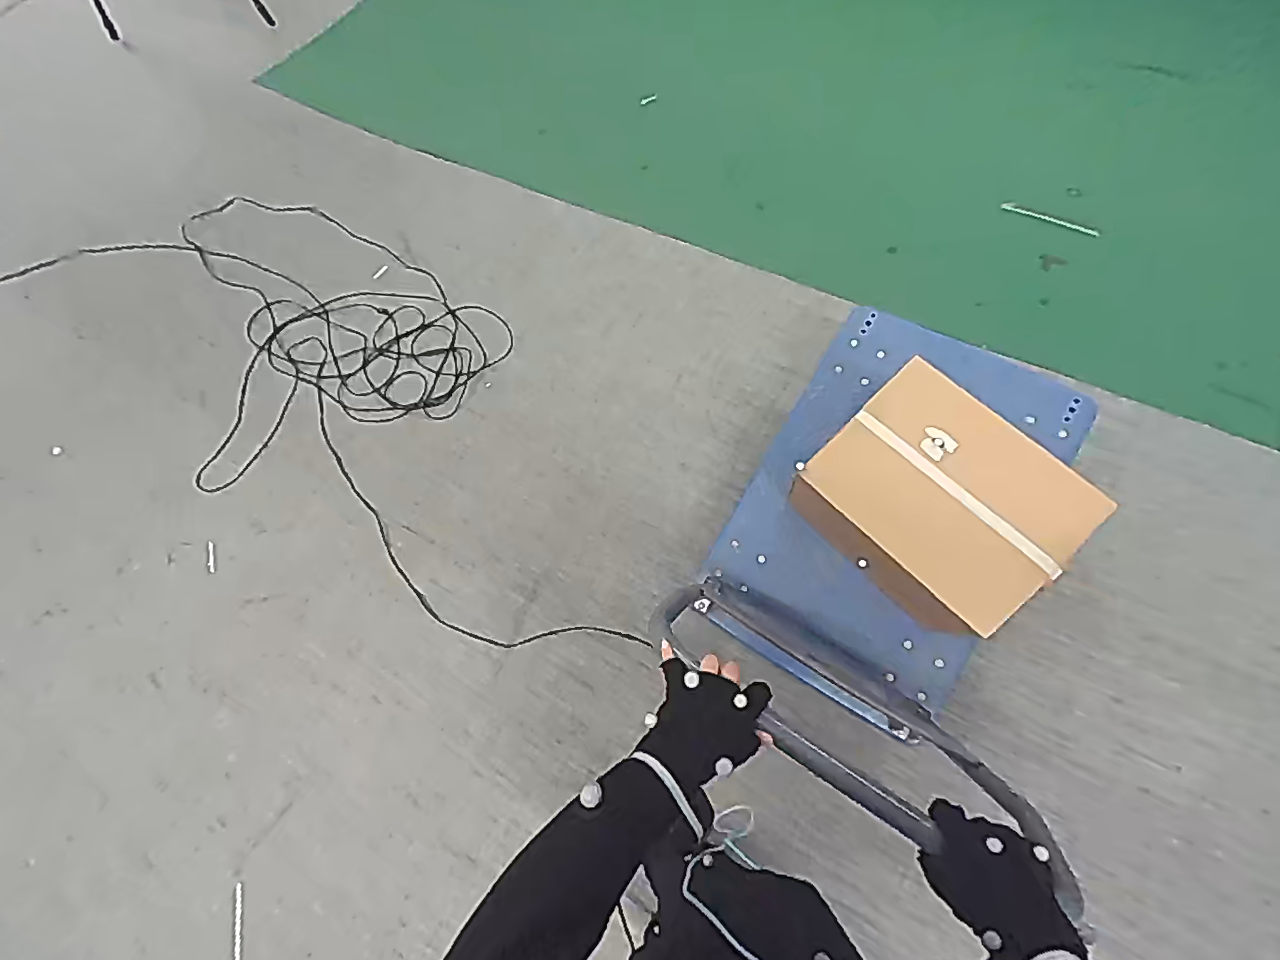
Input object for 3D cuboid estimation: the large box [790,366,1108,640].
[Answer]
[{"bbox_3d":[0.558,0.058,1.079,0.320,0.320,0.408,-44,72,-1],"label":"large box"}]
